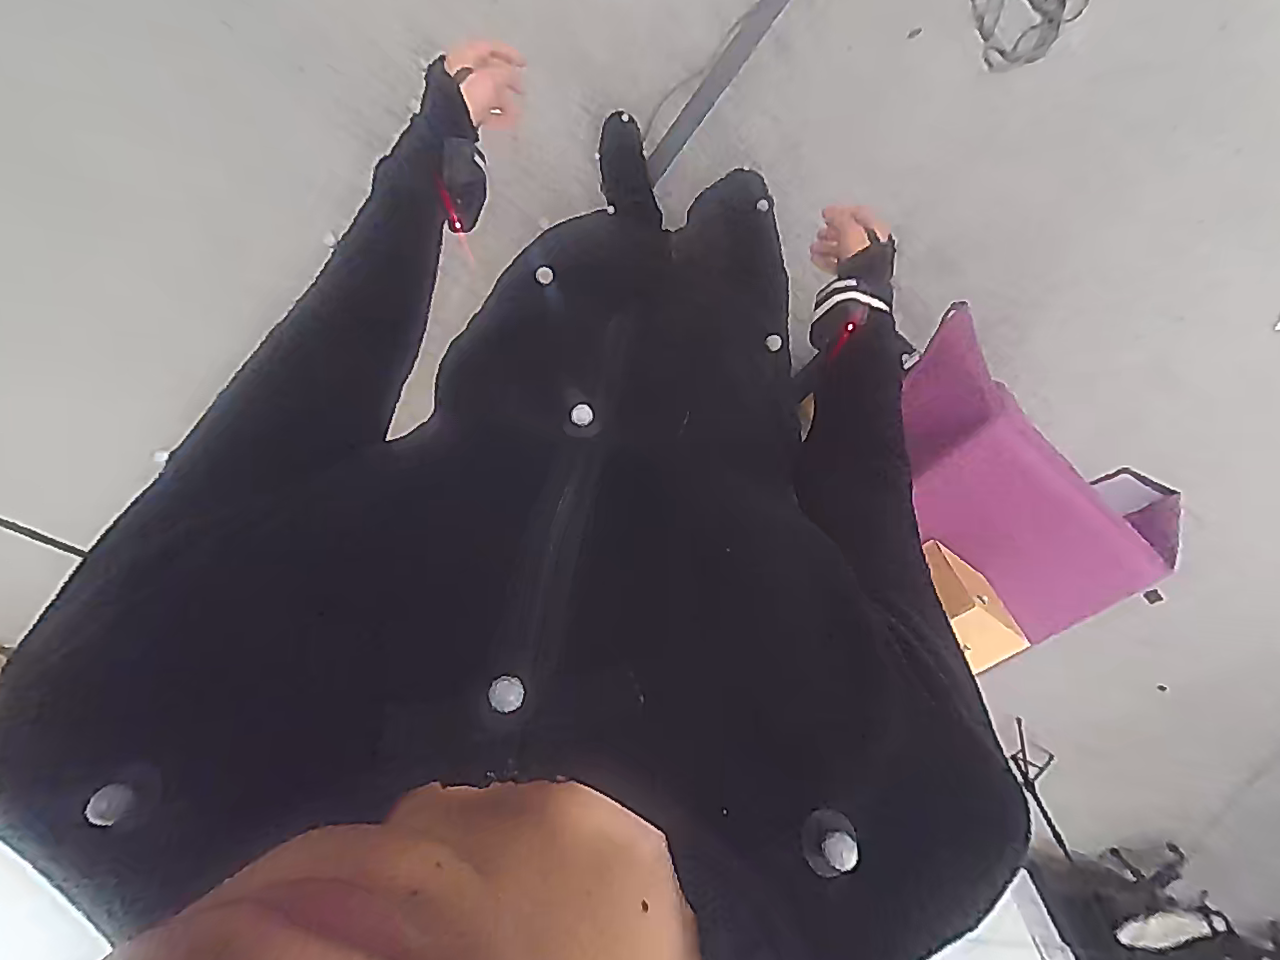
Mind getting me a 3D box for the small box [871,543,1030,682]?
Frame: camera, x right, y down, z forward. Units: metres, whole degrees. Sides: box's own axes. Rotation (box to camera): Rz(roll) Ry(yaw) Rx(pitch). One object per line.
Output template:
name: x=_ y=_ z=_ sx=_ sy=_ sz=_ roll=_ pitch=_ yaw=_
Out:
small box: x=0.584 y=0.250 z=1.037 sx=0.179 sy=0.176 sz=0.168 roll=32 pitch=120 yaw=-20
